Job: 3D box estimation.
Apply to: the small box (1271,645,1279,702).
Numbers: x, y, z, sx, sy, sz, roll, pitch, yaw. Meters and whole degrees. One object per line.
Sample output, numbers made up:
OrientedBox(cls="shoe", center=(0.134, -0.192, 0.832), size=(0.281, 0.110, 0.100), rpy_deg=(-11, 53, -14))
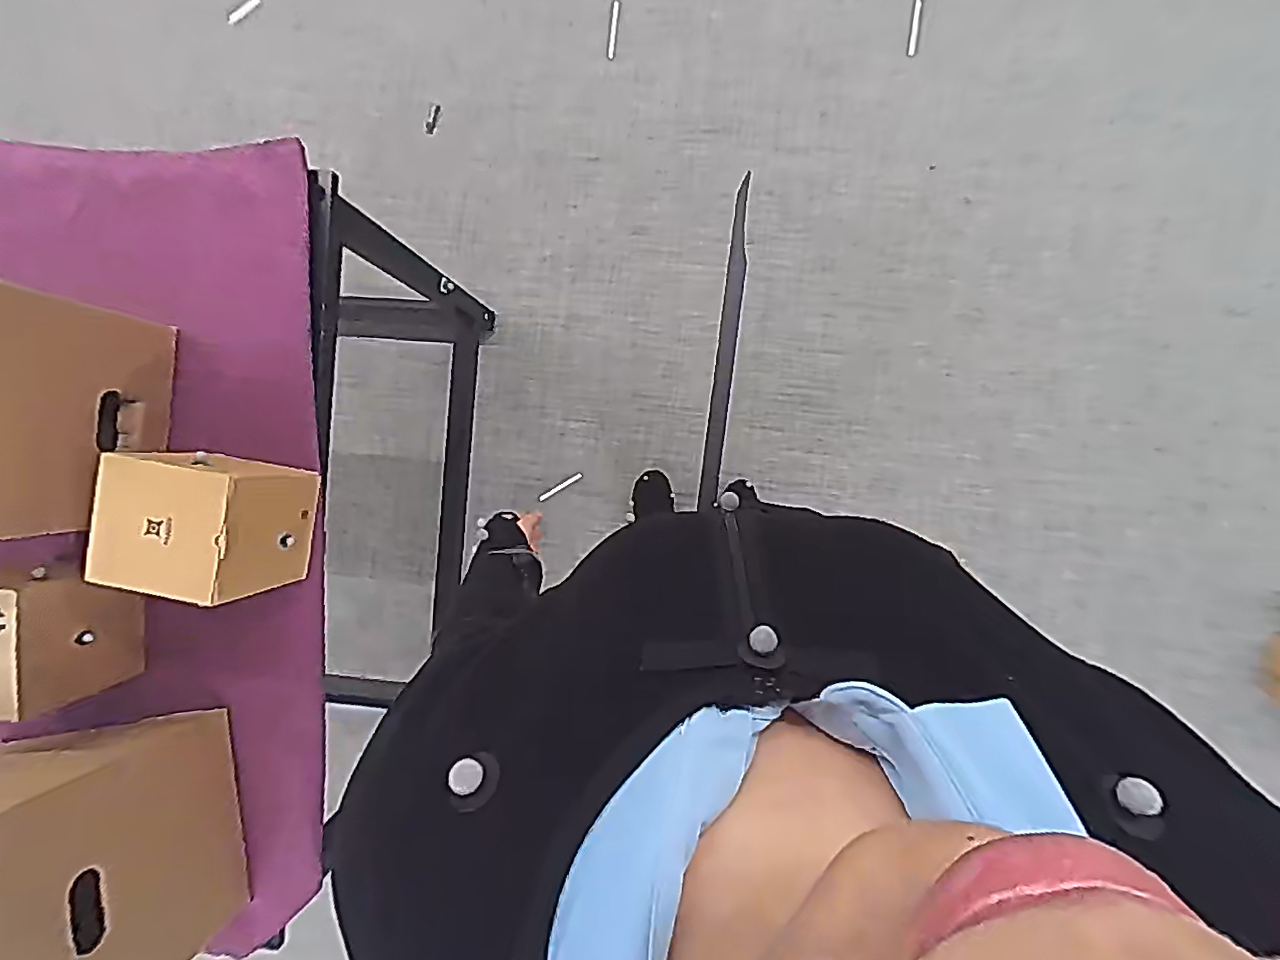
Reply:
OrientedBox(cls="small box", center=(1.698, 0.489, 1.300), size=(0.179, 0.176, 0.168), rpy_deg=(2, 92, 4))
